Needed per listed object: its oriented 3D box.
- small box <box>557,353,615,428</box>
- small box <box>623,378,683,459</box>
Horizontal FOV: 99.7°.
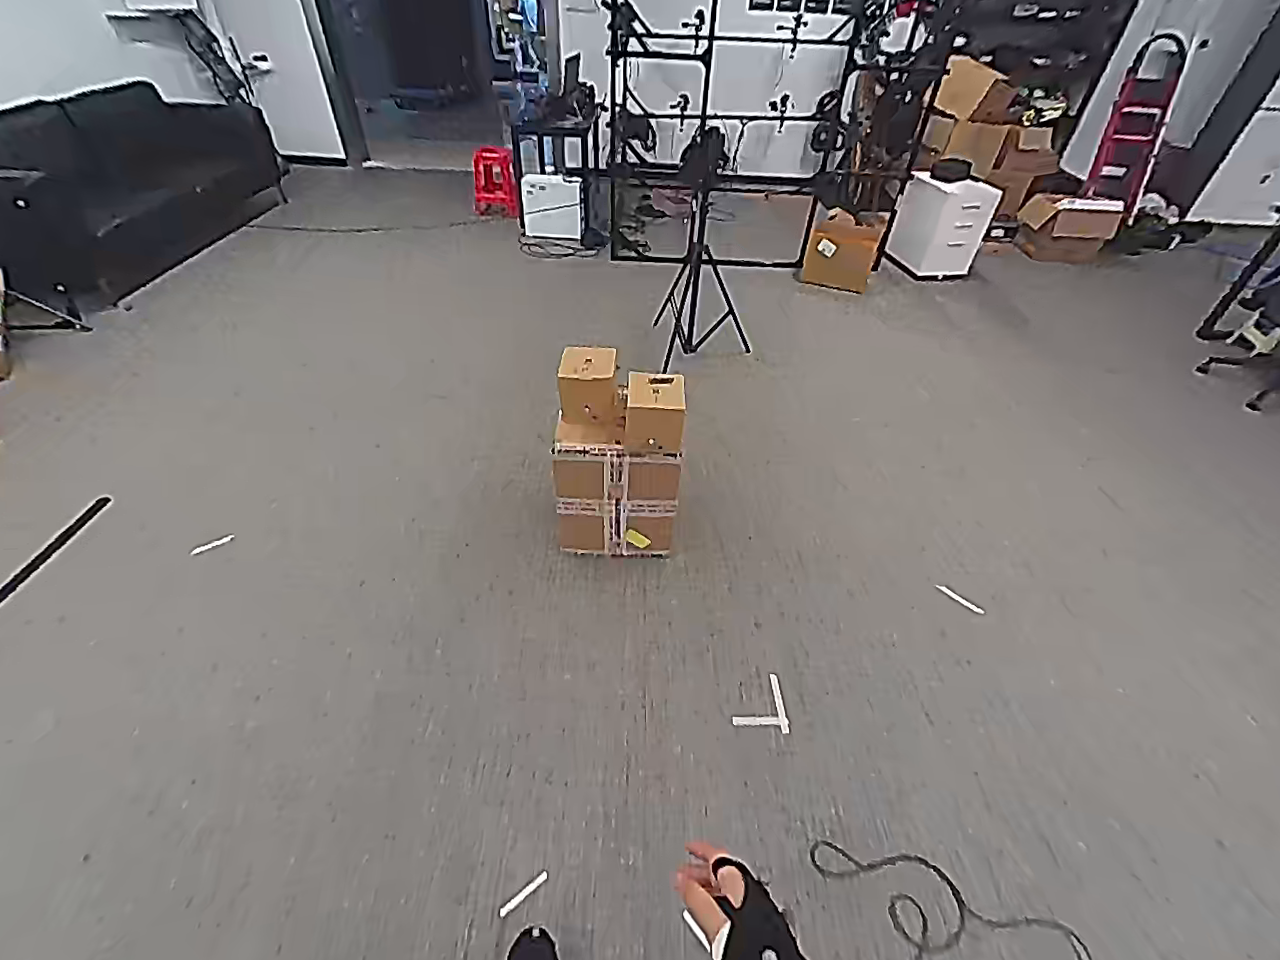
[{"bbox_3d":[-0.166,-0.284,1.717,0.168,0.176,0.179,1,44,1],"label":"small box"},{"bbox_3d":[0.037,-0.185,1.625,0.168,0.176,0.179,3,44,-1],"label":"small box"}]
